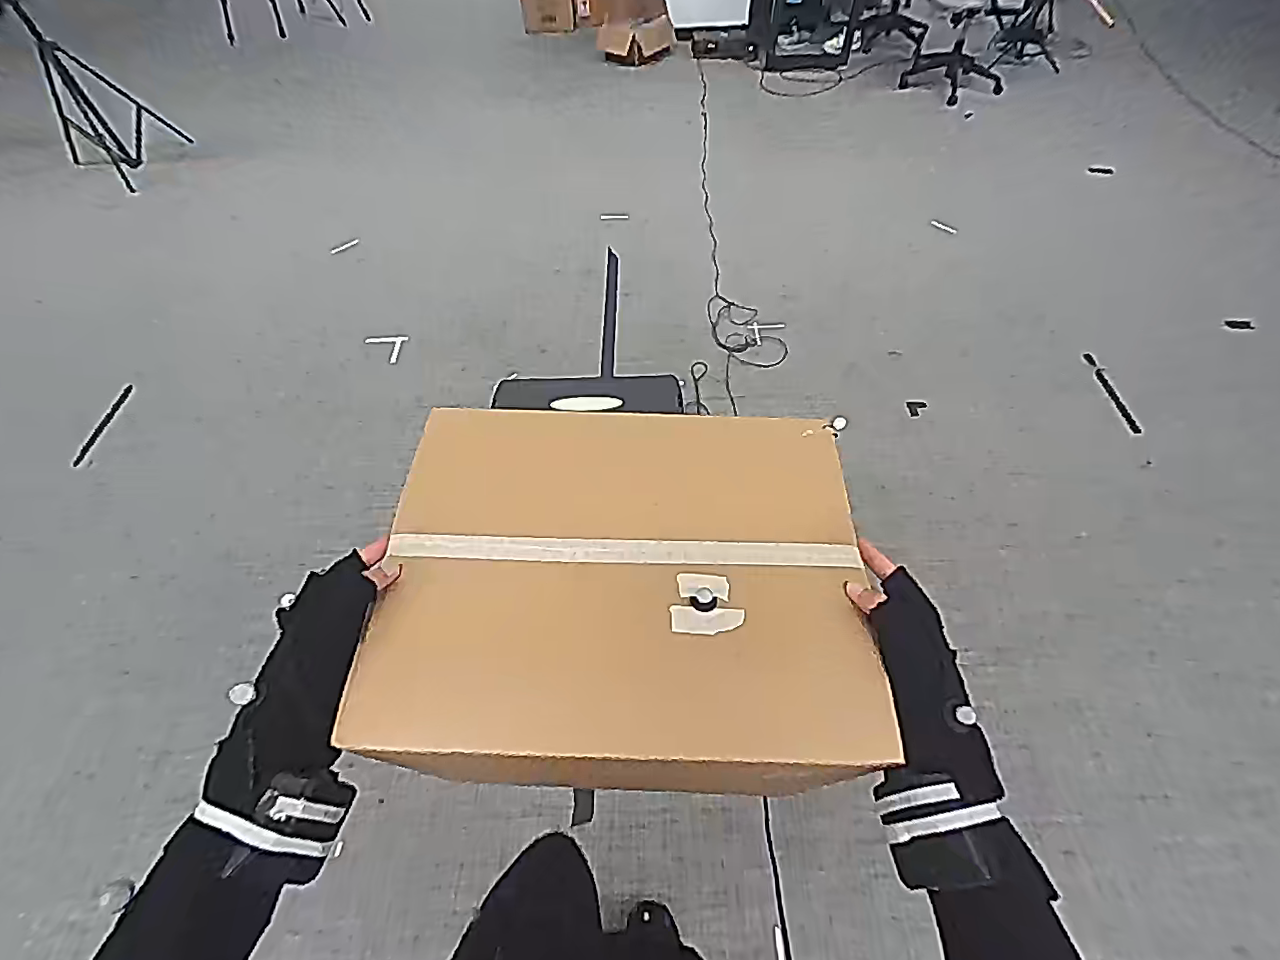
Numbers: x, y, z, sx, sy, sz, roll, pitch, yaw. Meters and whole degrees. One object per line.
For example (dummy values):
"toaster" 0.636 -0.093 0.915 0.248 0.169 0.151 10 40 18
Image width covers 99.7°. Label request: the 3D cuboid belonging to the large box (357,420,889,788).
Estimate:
"large box" -0.013 0.151 0.602 0.408 0.320 0.320 2 56 0
